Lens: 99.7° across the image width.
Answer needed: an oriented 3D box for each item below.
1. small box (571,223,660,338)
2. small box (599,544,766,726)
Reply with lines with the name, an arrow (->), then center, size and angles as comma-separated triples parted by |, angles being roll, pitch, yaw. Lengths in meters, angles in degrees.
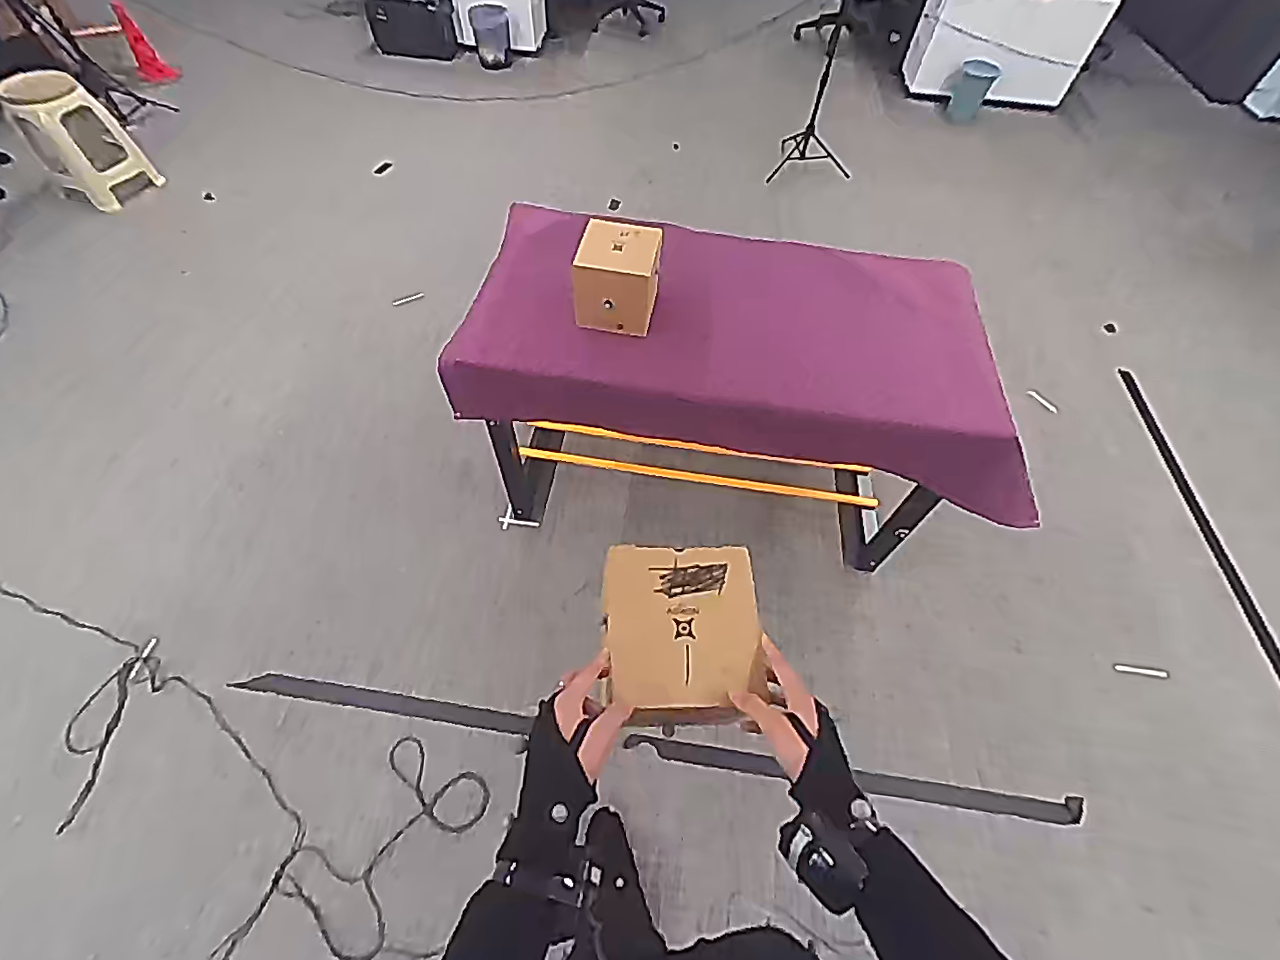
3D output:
small box -> -0.052, -0.450, 1.230 | 0.168, 0.176, 0.179 | 10, 56, 3
small box -> 0.037, 0.191, 0.650 | 0.168, 0.176, 0.179 | 2, 60, -6
